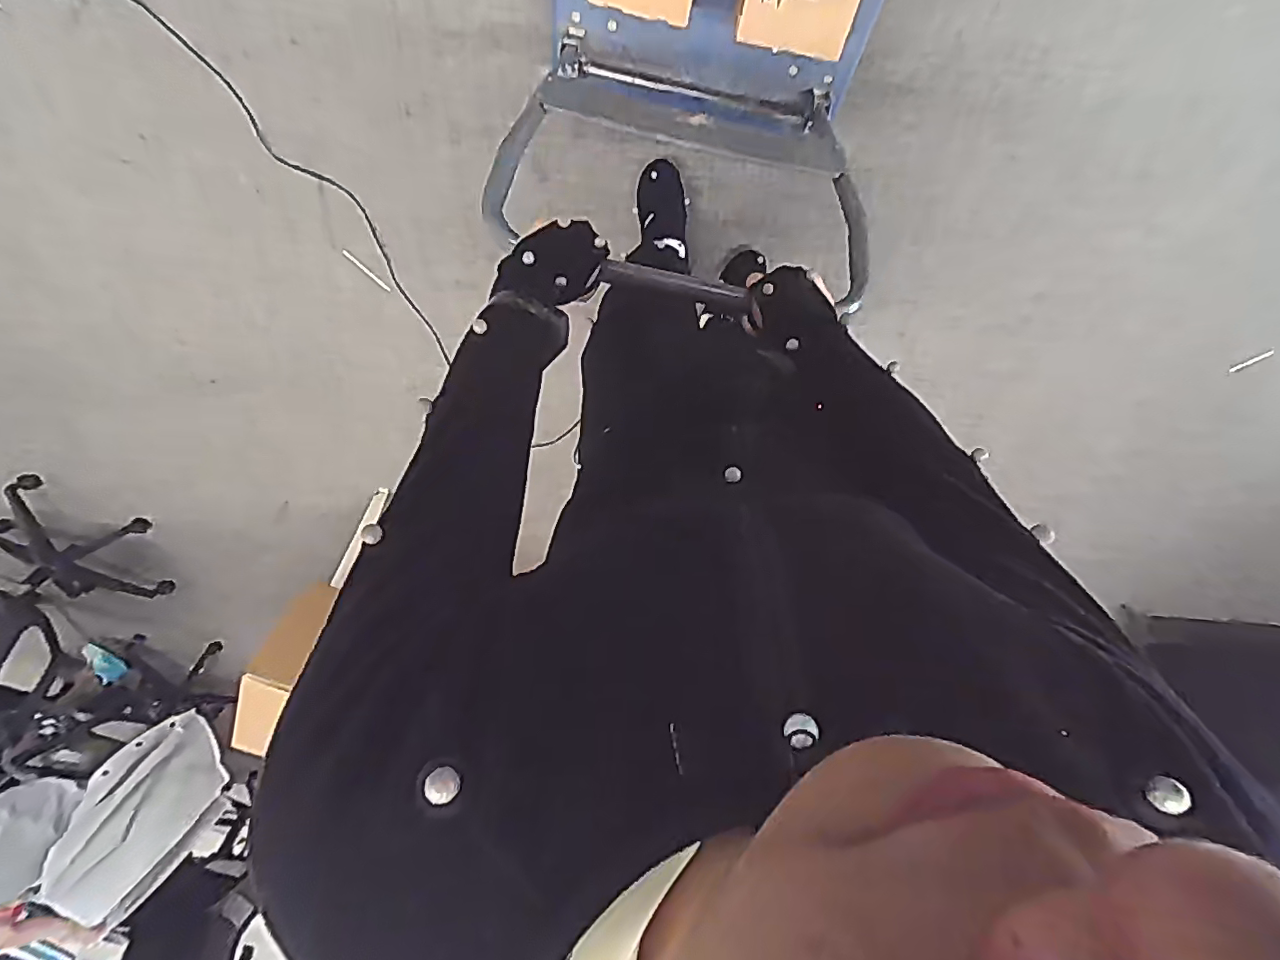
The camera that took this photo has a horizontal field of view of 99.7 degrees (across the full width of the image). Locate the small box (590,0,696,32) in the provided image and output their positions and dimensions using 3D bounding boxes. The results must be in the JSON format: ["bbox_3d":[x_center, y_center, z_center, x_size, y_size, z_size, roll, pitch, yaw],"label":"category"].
[{"bbox_3d":[0.022,-0.850,0.843,0.168,0.176,0.179,11,143,-5],"label":"small box"}]
